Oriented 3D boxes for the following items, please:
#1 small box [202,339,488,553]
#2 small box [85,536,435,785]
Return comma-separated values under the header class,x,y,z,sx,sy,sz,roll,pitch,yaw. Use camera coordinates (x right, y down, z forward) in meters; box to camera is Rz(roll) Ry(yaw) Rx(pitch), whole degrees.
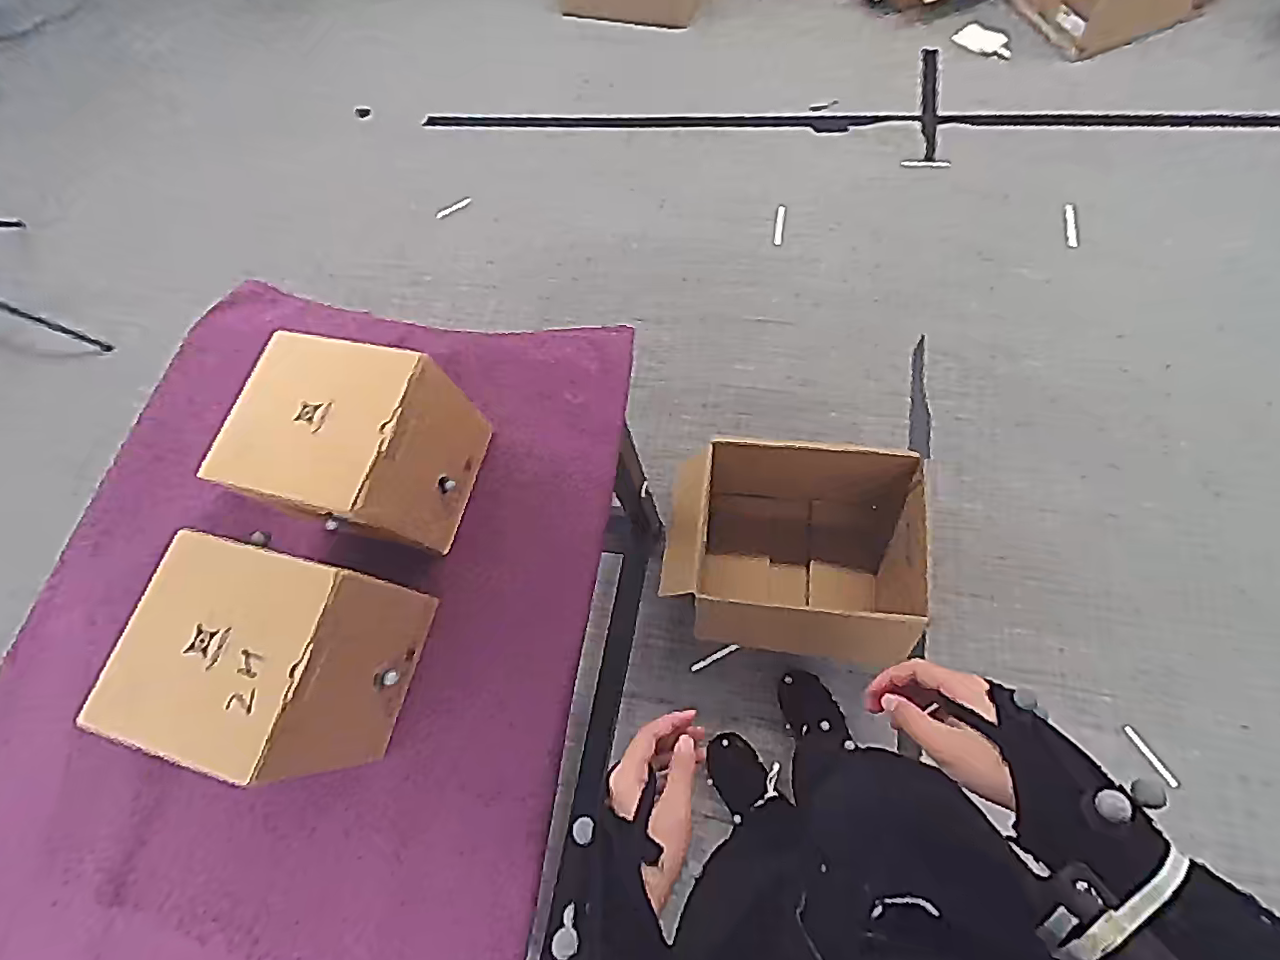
class,x,y,z,sx,sy,sz,roll,pitch,yaw
small box,-0.297,-0.028,0.585,0.179,0.176,0.168,10,71,13
small box,-0.335,0.167,0.515,0.179,0.176,0.168,10,71,12
